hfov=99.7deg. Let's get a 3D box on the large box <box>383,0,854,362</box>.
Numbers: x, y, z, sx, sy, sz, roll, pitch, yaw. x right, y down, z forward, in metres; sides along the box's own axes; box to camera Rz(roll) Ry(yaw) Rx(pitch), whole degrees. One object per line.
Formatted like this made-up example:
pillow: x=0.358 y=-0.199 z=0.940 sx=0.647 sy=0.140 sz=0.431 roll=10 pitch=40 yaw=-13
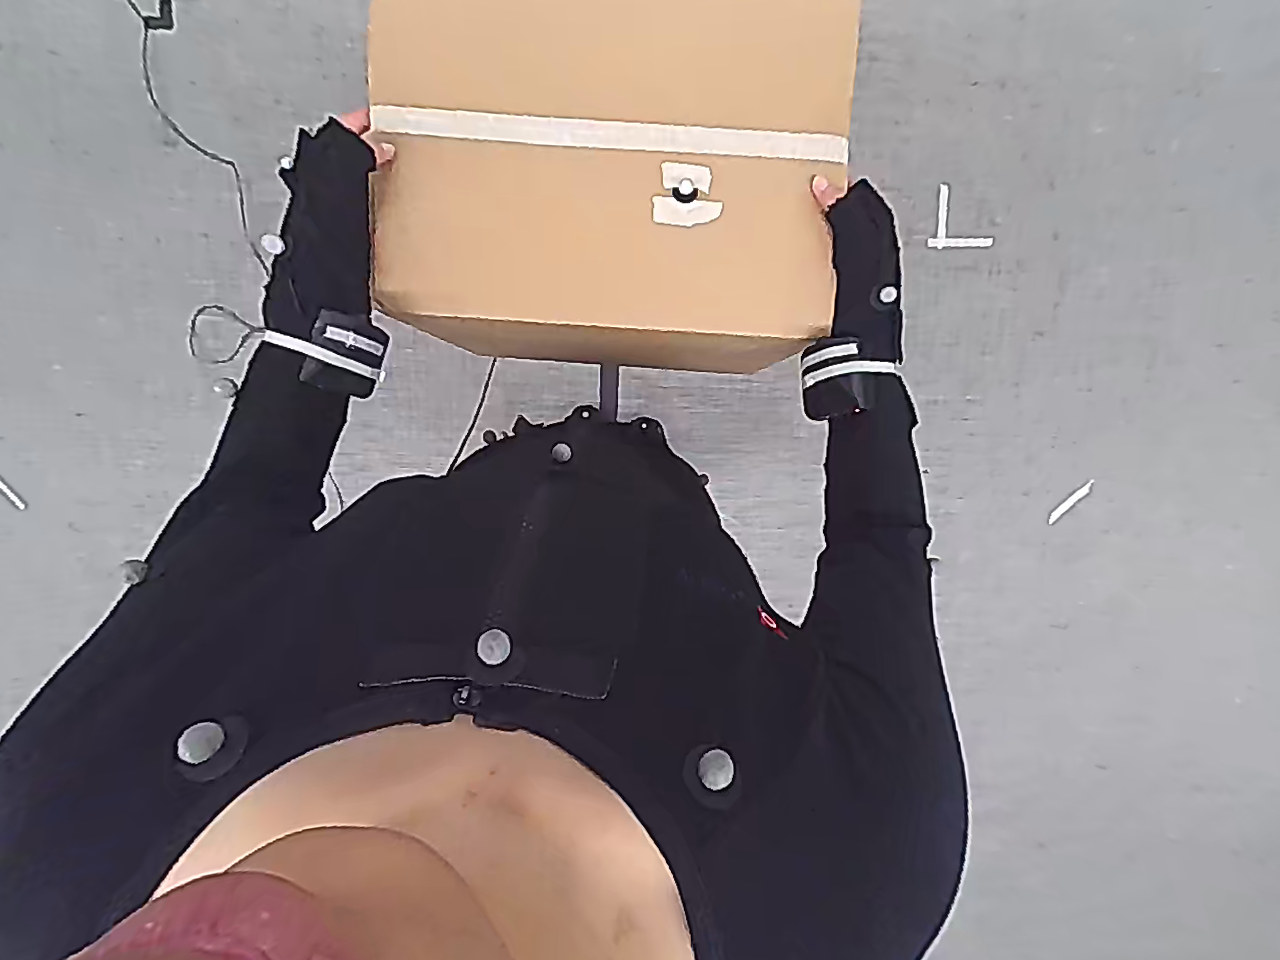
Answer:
large box: x=-0.025 y=-0.316 z=0.614 sx=0.408 sy=0.320 sz=0.320 roll=3 pitch=96 yaw=-1
